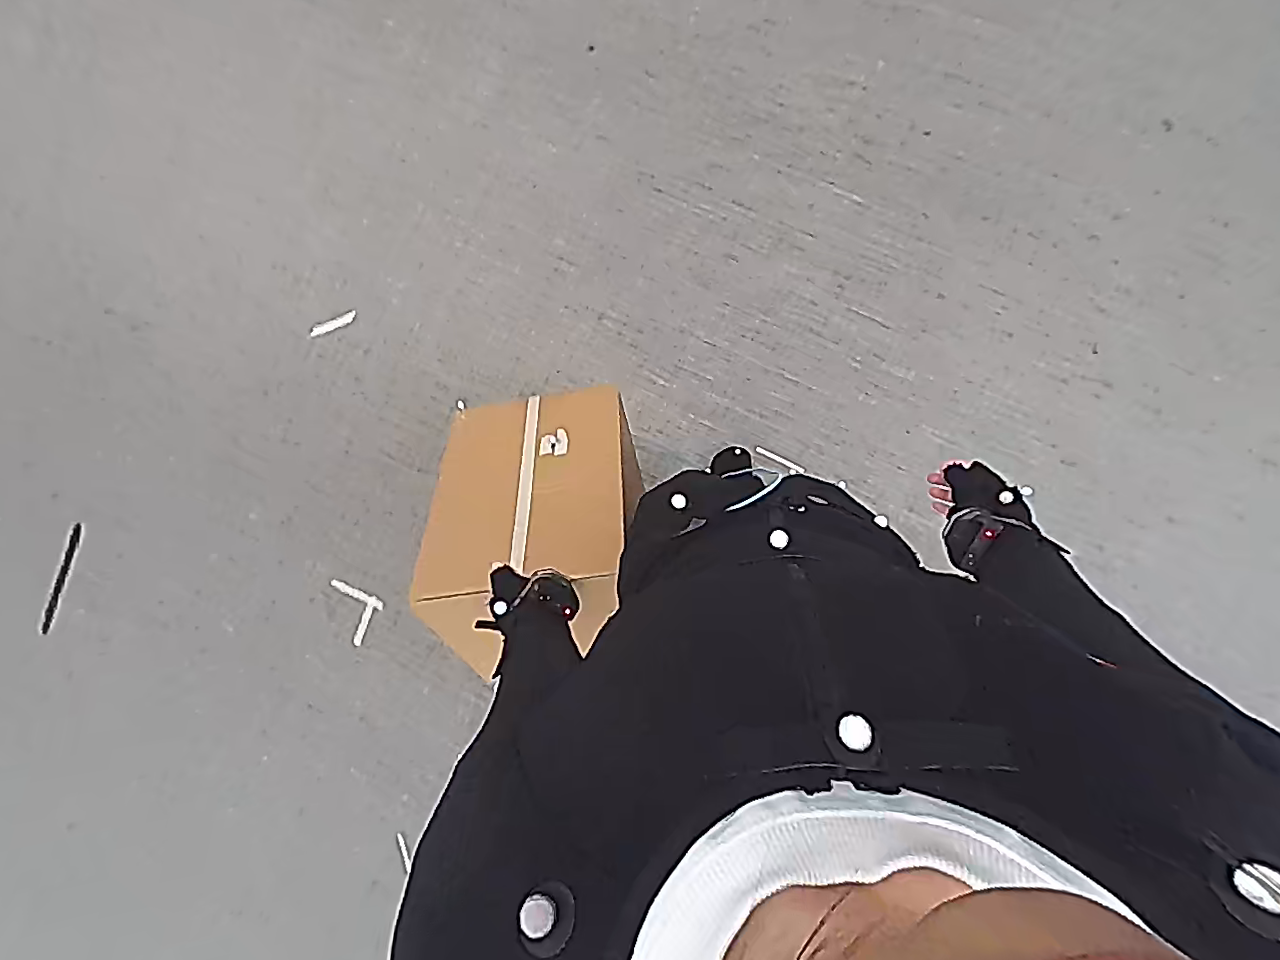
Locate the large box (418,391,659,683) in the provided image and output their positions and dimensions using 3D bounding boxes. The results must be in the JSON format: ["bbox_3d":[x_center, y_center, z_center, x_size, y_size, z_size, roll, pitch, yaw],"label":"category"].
[{"bbox_3d":[-0.155,0.103,0.987,0.320,0.320,0.408,-8,48,4],"label":"large box"}]
